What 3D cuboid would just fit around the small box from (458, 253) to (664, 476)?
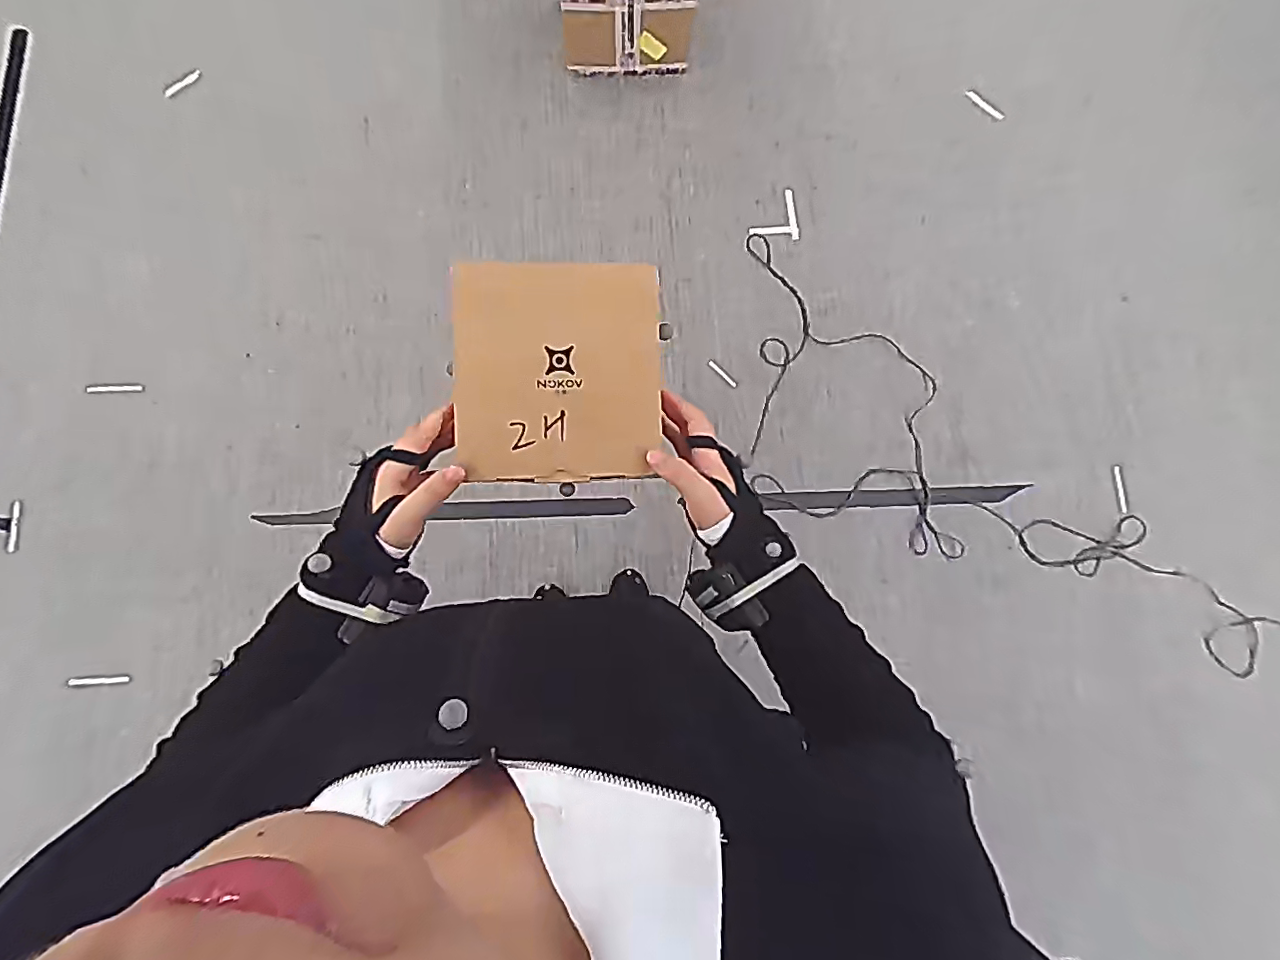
[{"bbox_3d":[-0.070,-0.094,0.513,0.168,0.176,0.179,-1,91,-5],"label":"small box"}]
